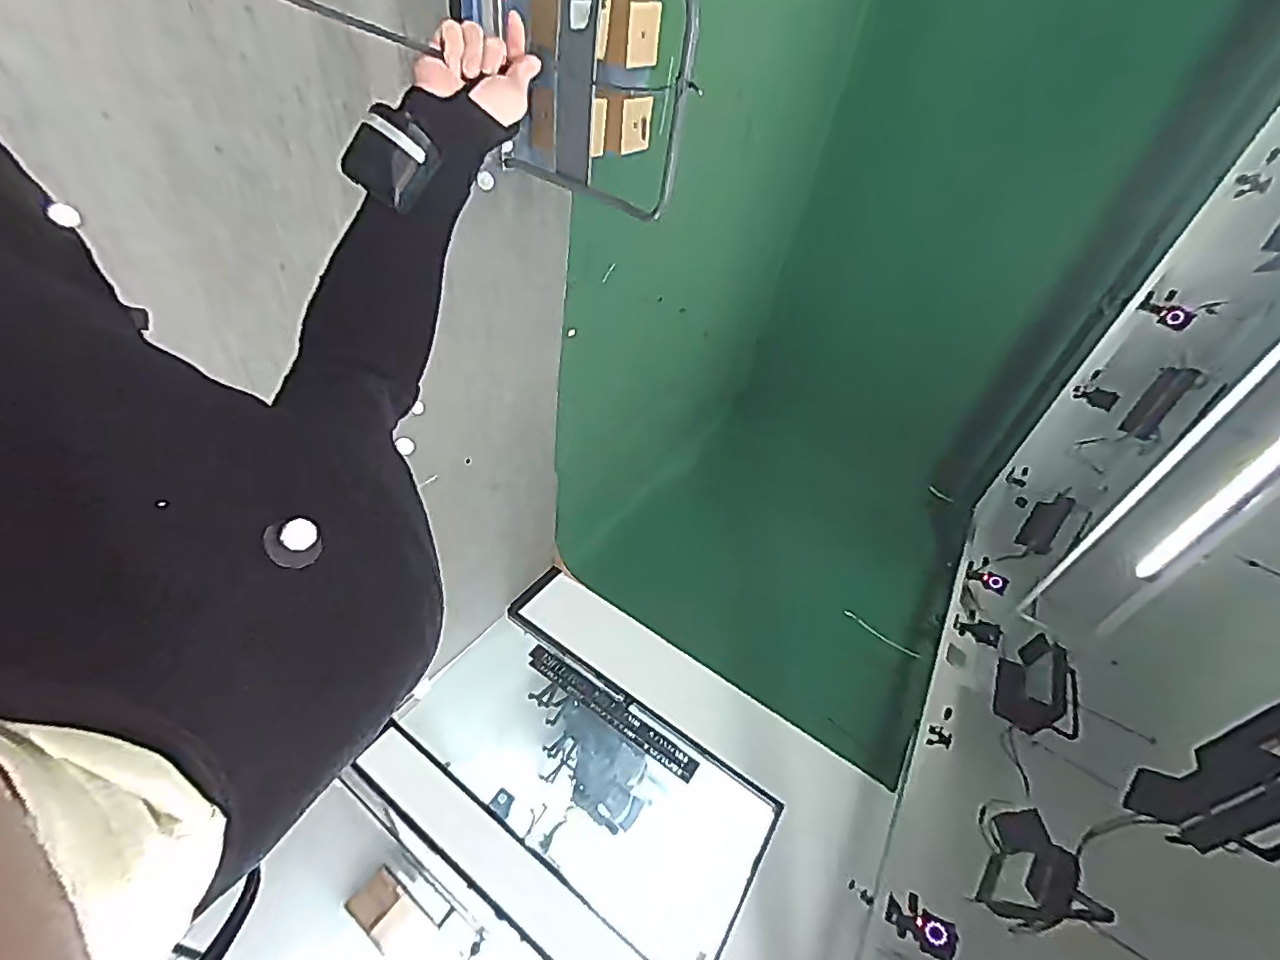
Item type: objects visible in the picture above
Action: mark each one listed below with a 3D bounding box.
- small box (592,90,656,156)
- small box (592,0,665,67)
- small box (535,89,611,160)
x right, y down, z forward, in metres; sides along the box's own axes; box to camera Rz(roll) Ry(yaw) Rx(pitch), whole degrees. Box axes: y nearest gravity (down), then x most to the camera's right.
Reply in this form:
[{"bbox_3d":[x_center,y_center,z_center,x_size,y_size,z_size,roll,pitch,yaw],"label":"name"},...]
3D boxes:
[{"bbox_3d":[-0.065,-1.290,1.946,0.179,0.176,0.168,-41,151,-38],"label":"small box"},{"bbox_3d":[-0.044,-1.470,1.772,0.179,0.176,0.168,-42,153,-39],"label":"small box"},{"bbox_3d":[-0.220,-1.162,1.766,0.179,0.176,0.168,-38,150,-42],"label":"small box"}]
